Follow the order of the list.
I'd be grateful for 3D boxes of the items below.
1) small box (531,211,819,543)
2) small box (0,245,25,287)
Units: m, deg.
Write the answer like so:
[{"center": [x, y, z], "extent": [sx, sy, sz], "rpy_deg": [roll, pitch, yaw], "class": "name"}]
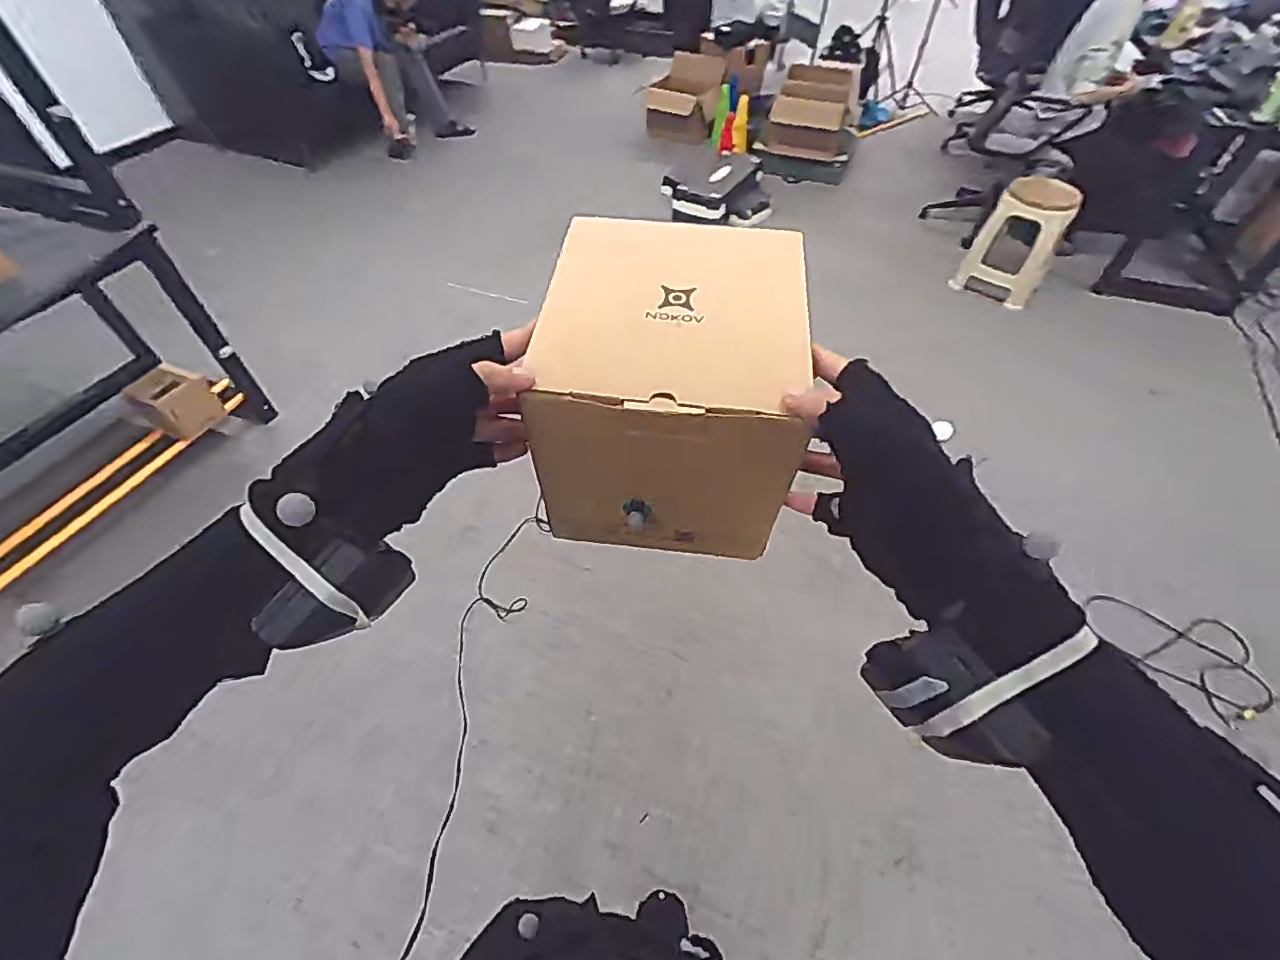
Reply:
[{"center": [0.026, -0.074, 0.412], "extent": [0.168, 0.176, 0.179], "rpy_deg": [5, 56, 3], "class": "small box"}, {"center": [-1.650, -0.535, 1.272], "extent": [0.179, 0.176, 0.168], "rpy_deg": [16, 53, 14], "class": "small box"}]
